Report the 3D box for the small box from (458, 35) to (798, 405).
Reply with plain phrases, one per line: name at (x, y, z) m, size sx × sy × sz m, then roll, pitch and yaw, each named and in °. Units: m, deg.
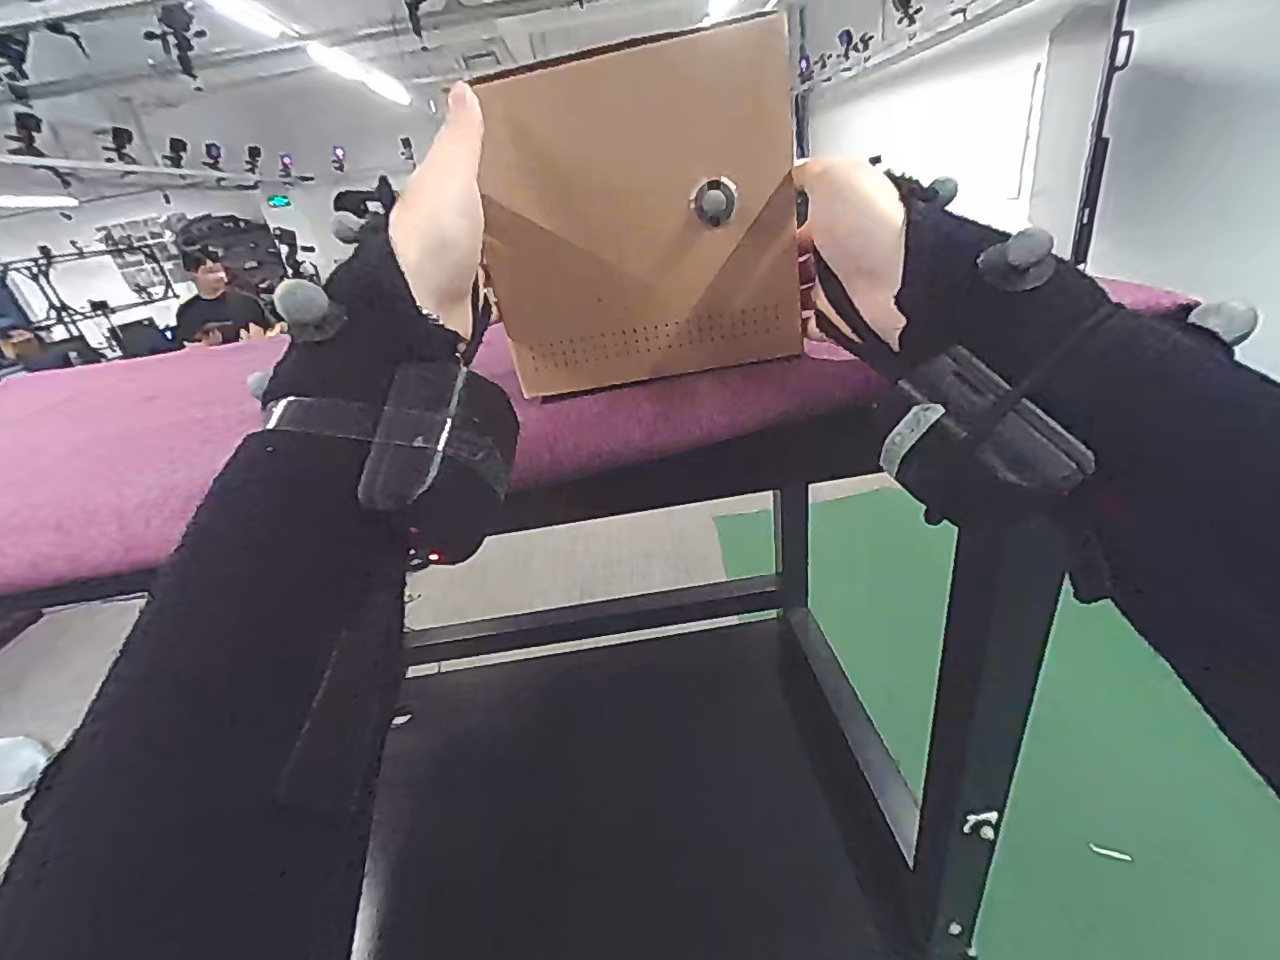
small box at (0.007, -0.163, 0.375) m, size 0.179 × 0.176 × 0.168 m, roll -9°, pitch 23°, yaw 6°
